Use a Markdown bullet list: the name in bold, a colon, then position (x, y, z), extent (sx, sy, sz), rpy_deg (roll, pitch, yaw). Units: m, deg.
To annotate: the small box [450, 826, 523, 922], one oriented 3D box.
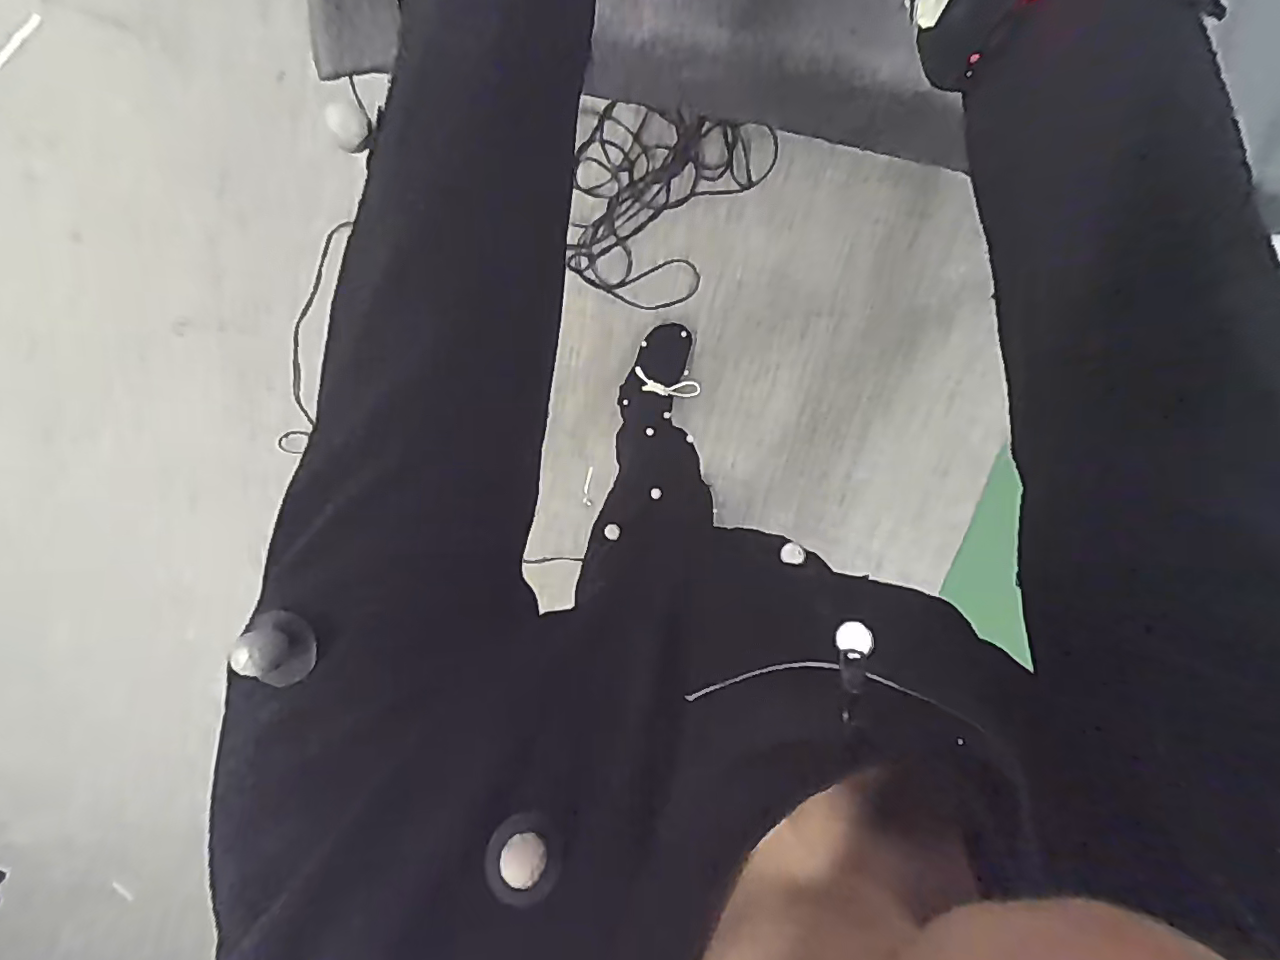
- **small box**: position (-0.459, 1.188, 1.638), extent (0.179, 0.176, 0.168), rpy_deg (9, 109, -4)
